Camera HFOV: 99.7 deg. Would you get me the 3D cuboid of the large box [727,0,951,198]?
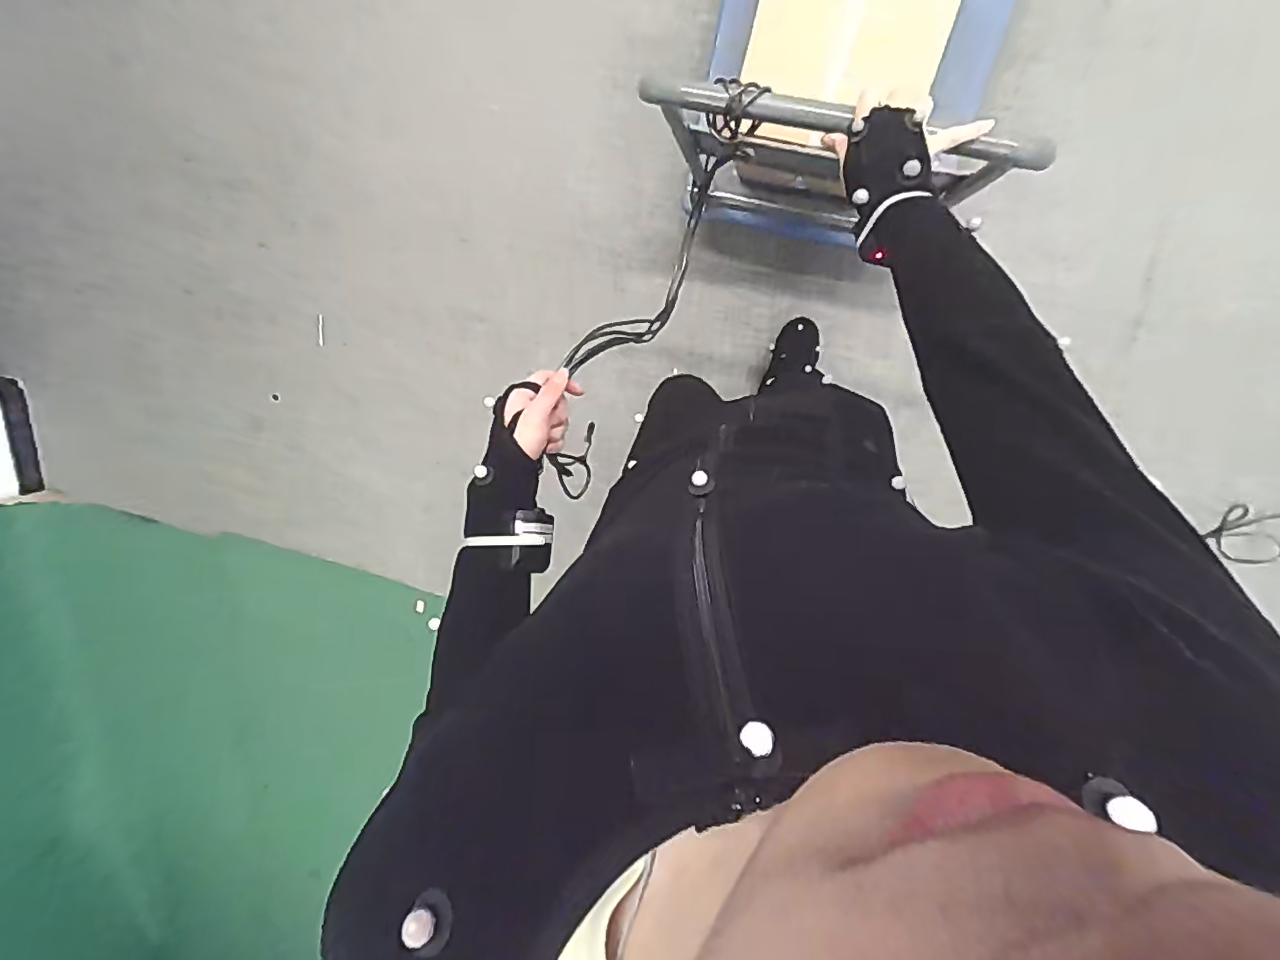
[{"bbox_3d":[0.377,-0.814,1.034,0.320,0.320,0.408,17,108,8],"label":"large box"}]
